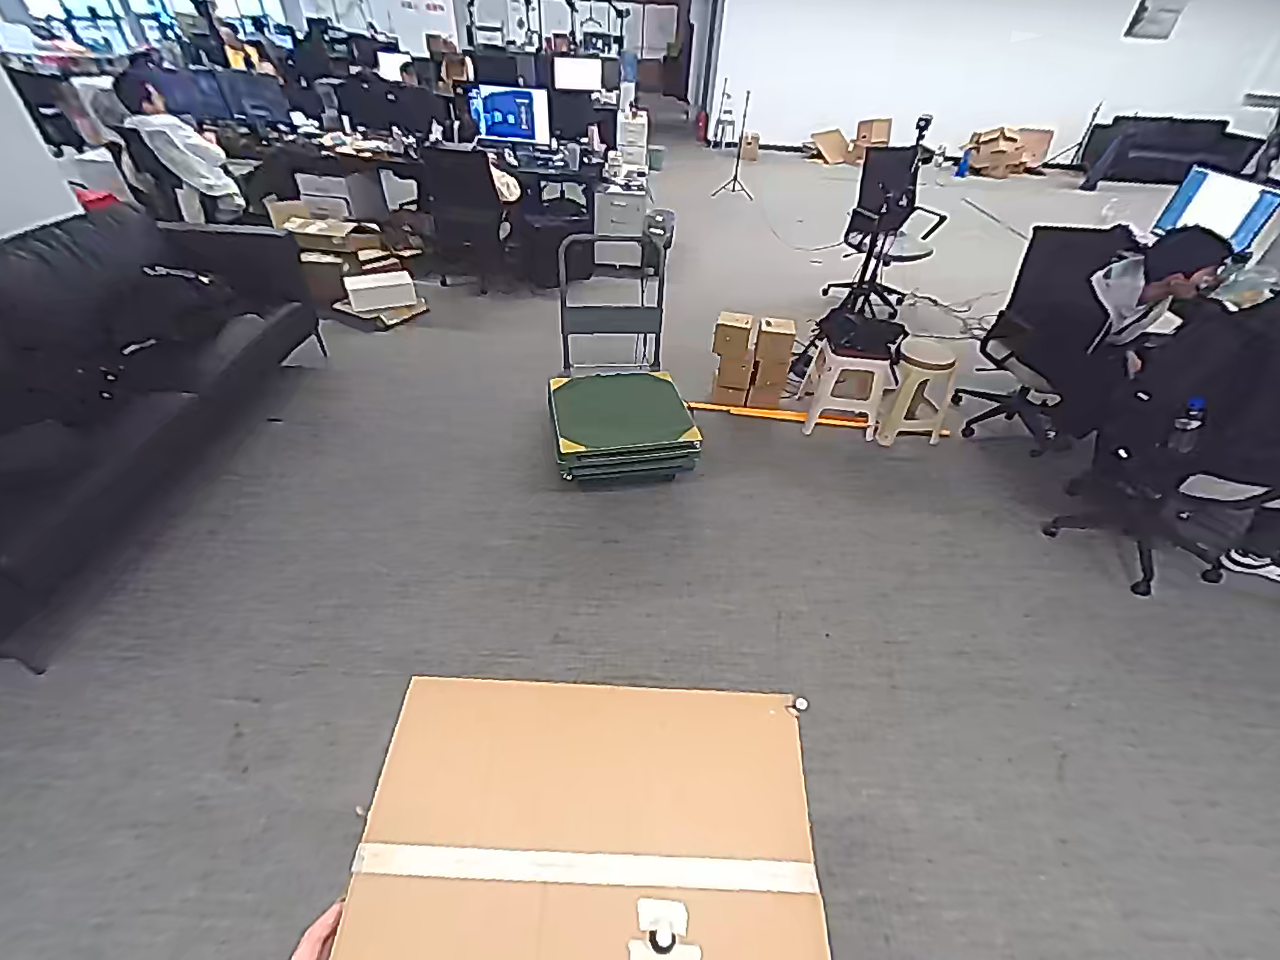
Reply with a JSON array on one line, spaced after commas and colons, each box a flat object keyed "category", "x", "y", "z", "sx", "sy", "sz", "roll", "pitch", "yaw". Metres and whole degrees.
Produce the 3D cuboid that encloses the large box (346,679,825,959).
[{"category": "large box", "x": -0.048, "y": 0.433, "z": 0.605, "sx": 0.408, "sy": 0.320, "sz": 0.320, "roll": 3, "pitch": 53, "yaw": -1}]
